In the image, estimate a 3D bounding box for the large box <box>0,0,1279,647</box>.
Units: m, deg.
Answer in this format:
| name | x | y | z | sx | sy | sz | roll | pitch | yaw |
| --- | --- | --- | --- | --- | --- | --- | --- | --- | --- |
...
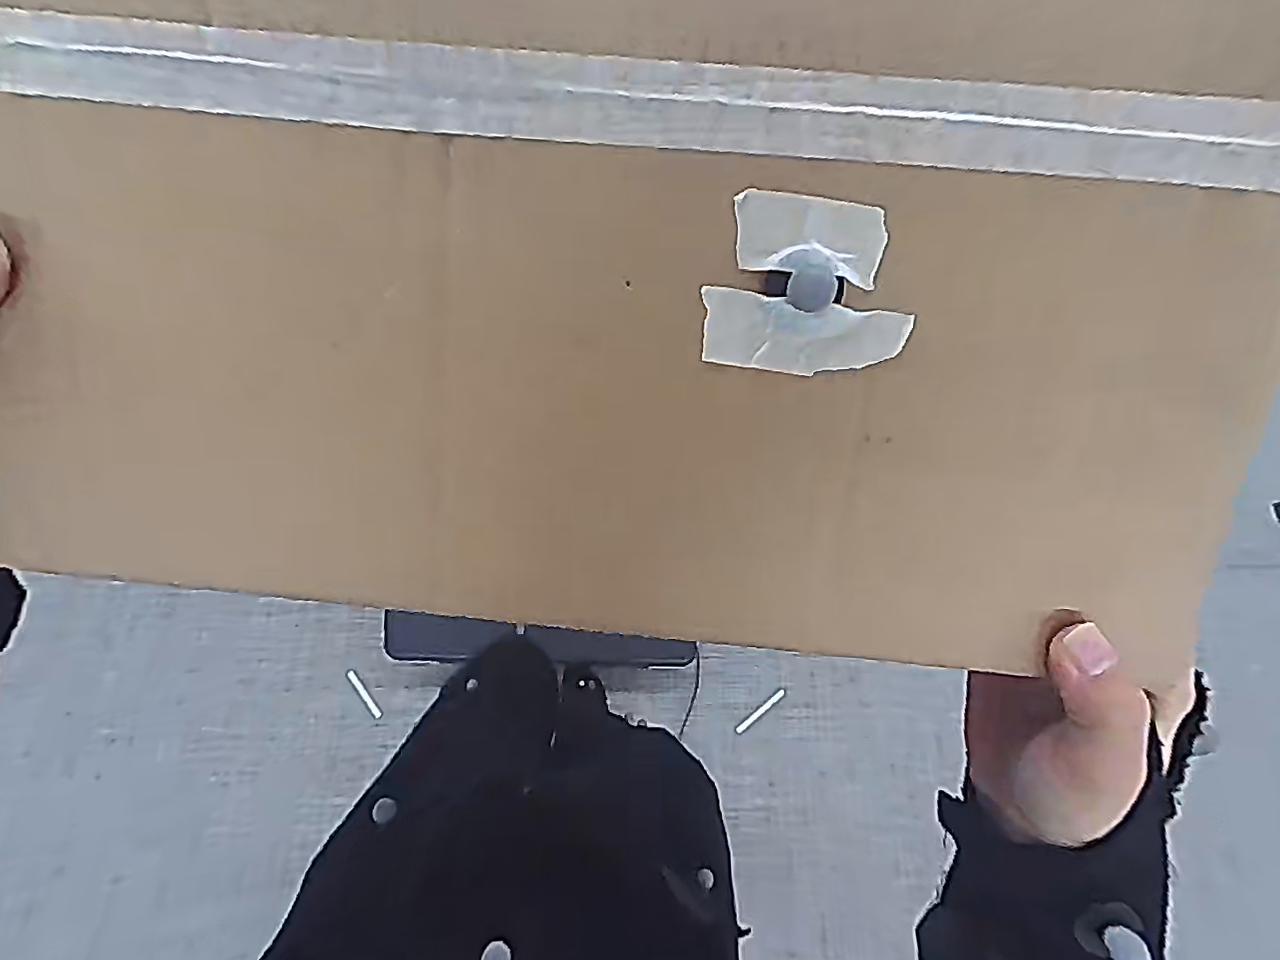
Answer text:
| name | x | y | z | sx | sy | sz | roll | pitch | yaw |
| --- | --- | --- | --- | --- | --- | --- | --- | --- | --- |
| large box | -0.007 | -0.131 | 0.310 | 0.408 | 0.320 | 0.320 | 5 | 101 | 1 |
